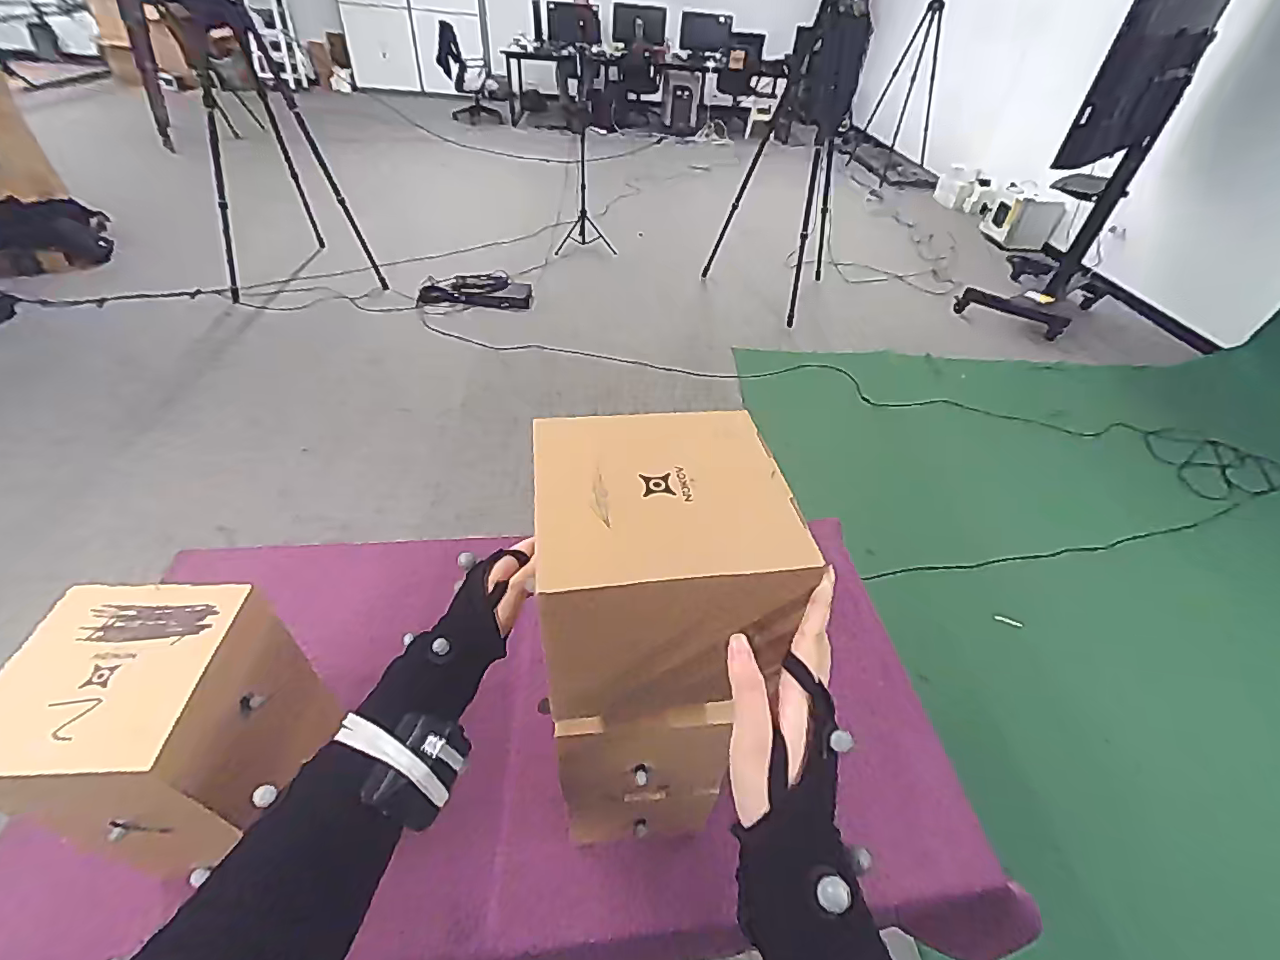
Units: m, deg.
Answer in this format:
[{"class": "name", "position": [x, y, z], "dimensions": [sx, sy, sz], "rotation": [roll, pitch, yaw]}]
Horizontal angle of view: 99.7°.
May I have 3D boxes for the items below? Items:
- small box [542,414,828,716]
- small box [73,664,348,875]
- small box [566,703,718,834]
[{"class": "small box", "position": [0.015, 0.065, 0.427], "dimensions": [0.179, 0.176, 0.168], "rotation": [-3, 43, -8]}, {"class": "small box", "position": [-0.470, 0.338, 0.635], "dimensions": [0.168, 0.176, 0.179], "rotation": [0, 44, -5]}, {"class": "small box", "position": [-0.006, 0.331, 0.686], "dimensions": [0.168, 0.176, 0.179], "rotation": [0, 44, -6]}]
